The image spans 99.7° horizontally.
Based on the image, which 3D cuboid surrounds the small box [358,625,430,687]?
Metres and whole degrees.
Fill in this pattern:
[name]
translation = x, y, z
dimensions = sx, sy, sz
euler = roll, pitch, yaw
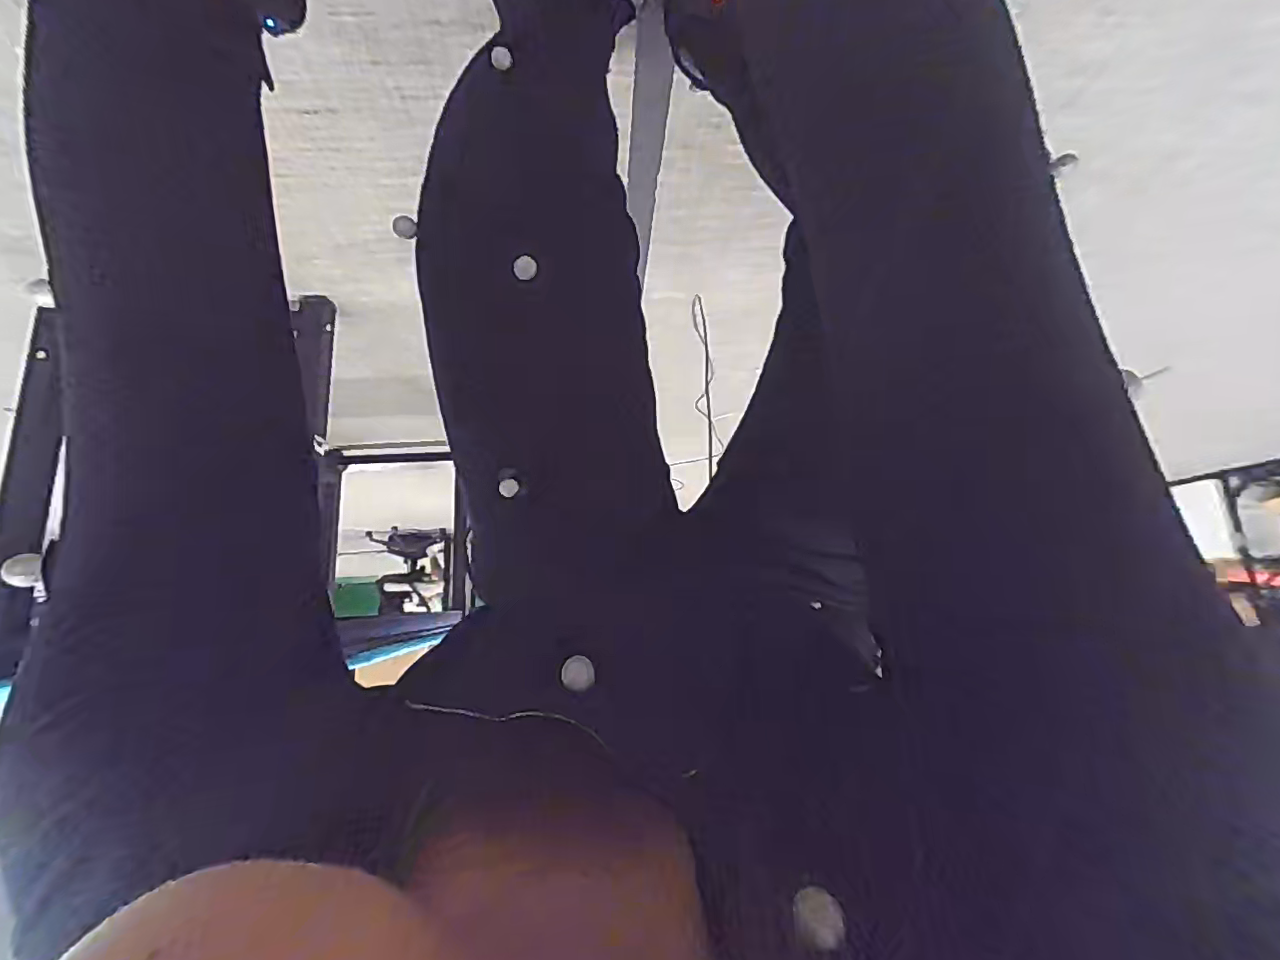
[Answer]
[small box]
translation = -0.799, 0.569, 1.763
dimensions = 0.179, 0.176, 0.168
euler = -2, 168, -8
